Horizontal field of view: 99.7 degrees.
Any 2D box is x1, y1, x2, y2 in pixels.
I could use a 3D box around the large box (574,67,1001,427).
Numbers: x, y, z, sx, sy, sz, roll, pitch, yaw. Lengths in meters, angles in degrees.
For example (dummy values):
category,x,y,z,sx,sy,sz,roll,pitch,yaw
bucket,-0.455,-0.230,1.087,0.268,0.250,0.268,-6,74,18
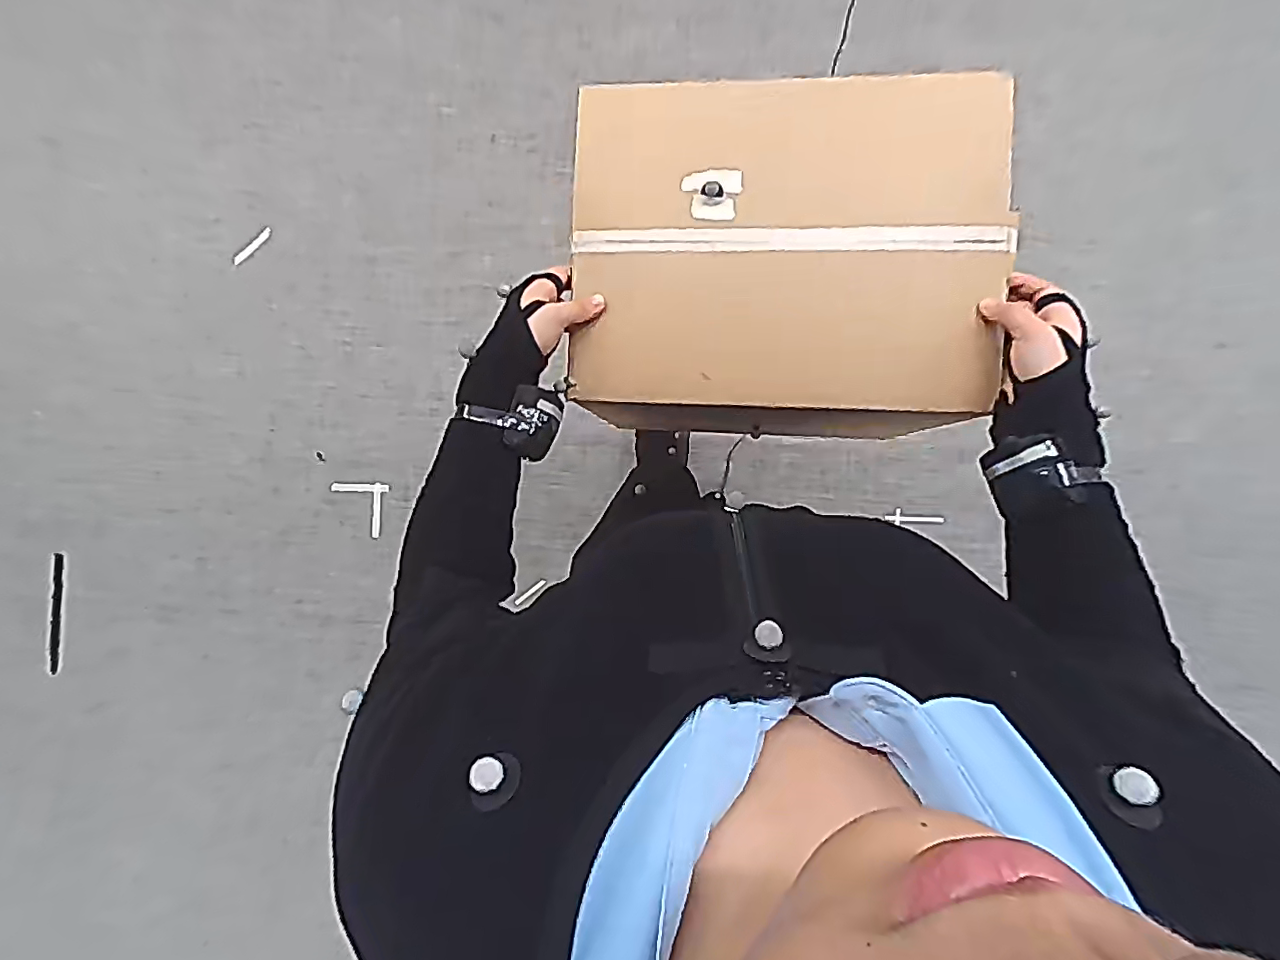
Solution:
category,x,y,z,sx,sy,sz,roll,pitch,yaw
large box,0.155,-0.233,0.671,0.408,0.320,0.320,2,89,8
